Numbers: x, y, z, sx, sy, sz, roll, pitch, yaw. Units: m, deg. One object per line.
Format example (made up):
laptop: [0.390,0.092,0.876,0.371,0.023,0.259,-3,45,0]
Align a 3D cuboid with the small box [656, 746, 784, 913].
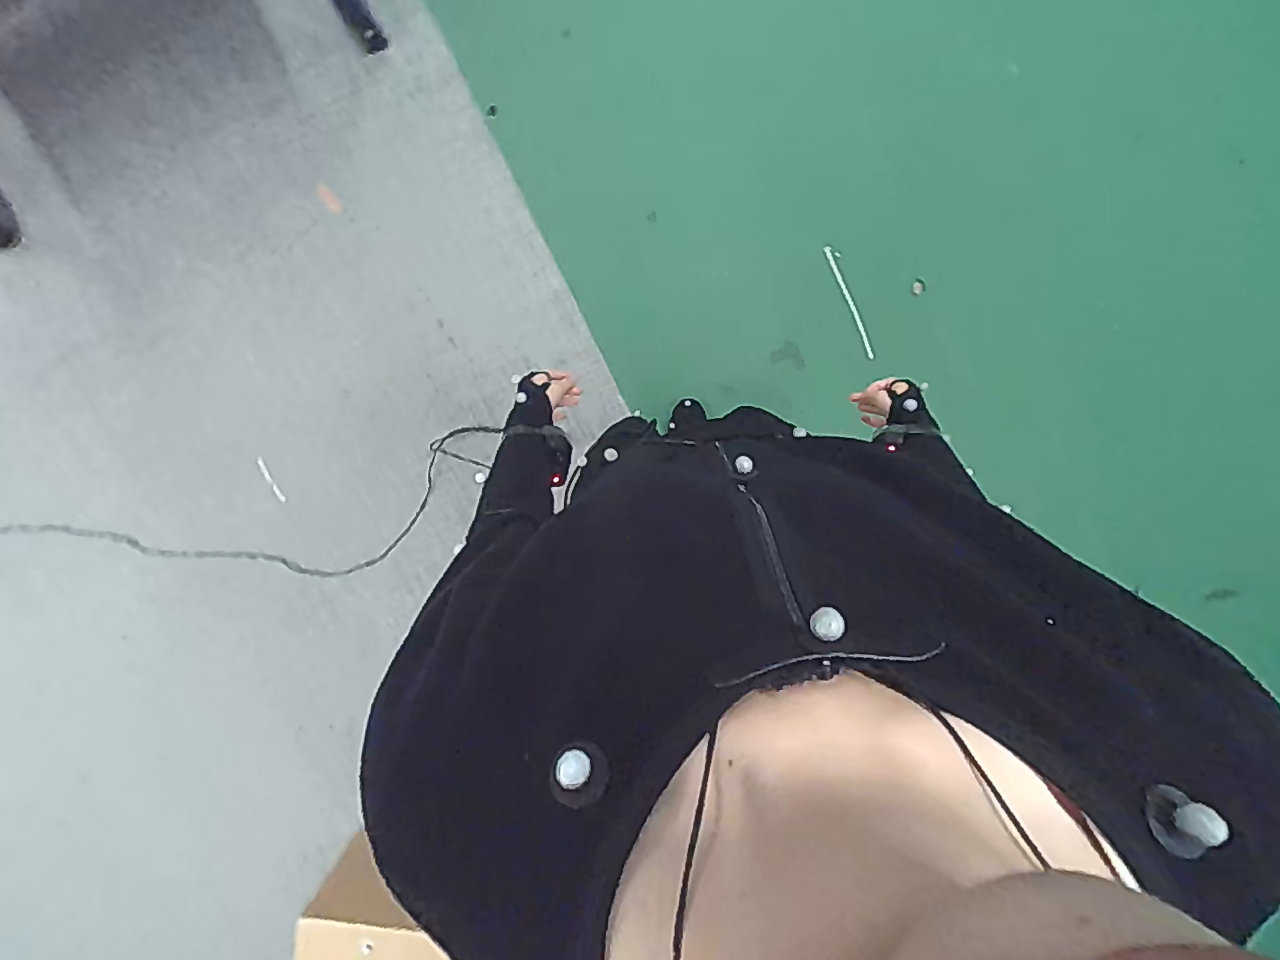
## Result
small box: [0.141,0.653,1.031,0.179,0.176,0.168,-34,96,5]
